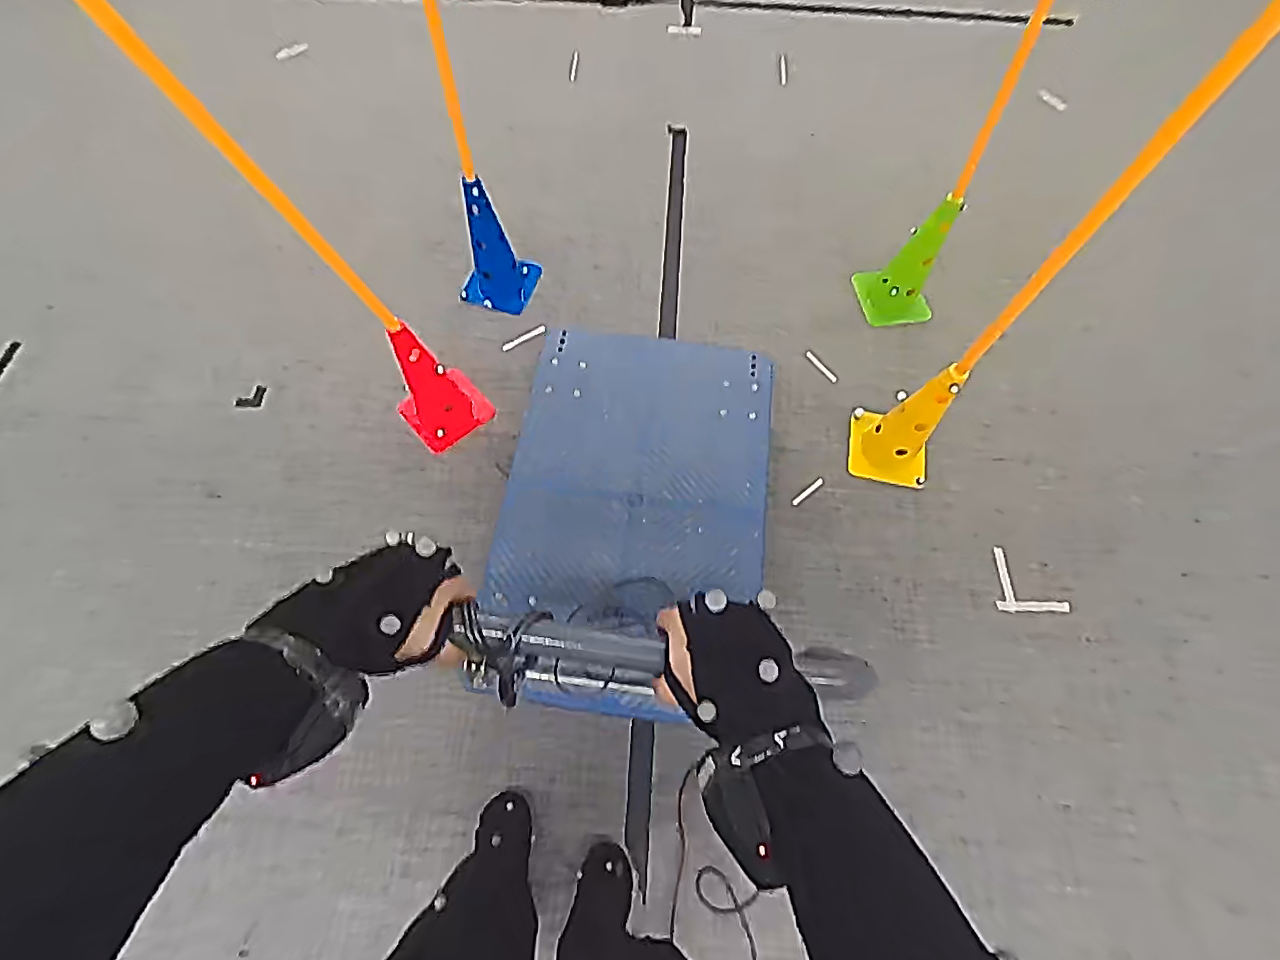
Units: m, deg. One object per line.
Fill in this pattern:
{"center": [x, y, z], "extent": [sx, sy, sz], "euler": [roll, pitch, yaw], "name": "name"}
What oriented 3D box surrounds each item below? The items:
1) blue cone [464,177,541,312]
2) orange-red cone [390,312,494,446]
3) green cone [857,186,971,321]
{"center": [-0.408, -0.661, 1.481], "extent": [0.193, 0.380, 0.192], "euler": [18, 69, 6], "name": "blue cone"}
{"center": [-0.514, -0.270, 1.299], "extent": [0.199, 0.360, 0.198], "euler": [-38, 74, -17], "name": "orange-red cone"}
{"center": [0.773, -0.634, 1.472], "extent": [0.200, 0.368, 0.202], "euler": [-9, 69, -5], "name": "green cone"}
